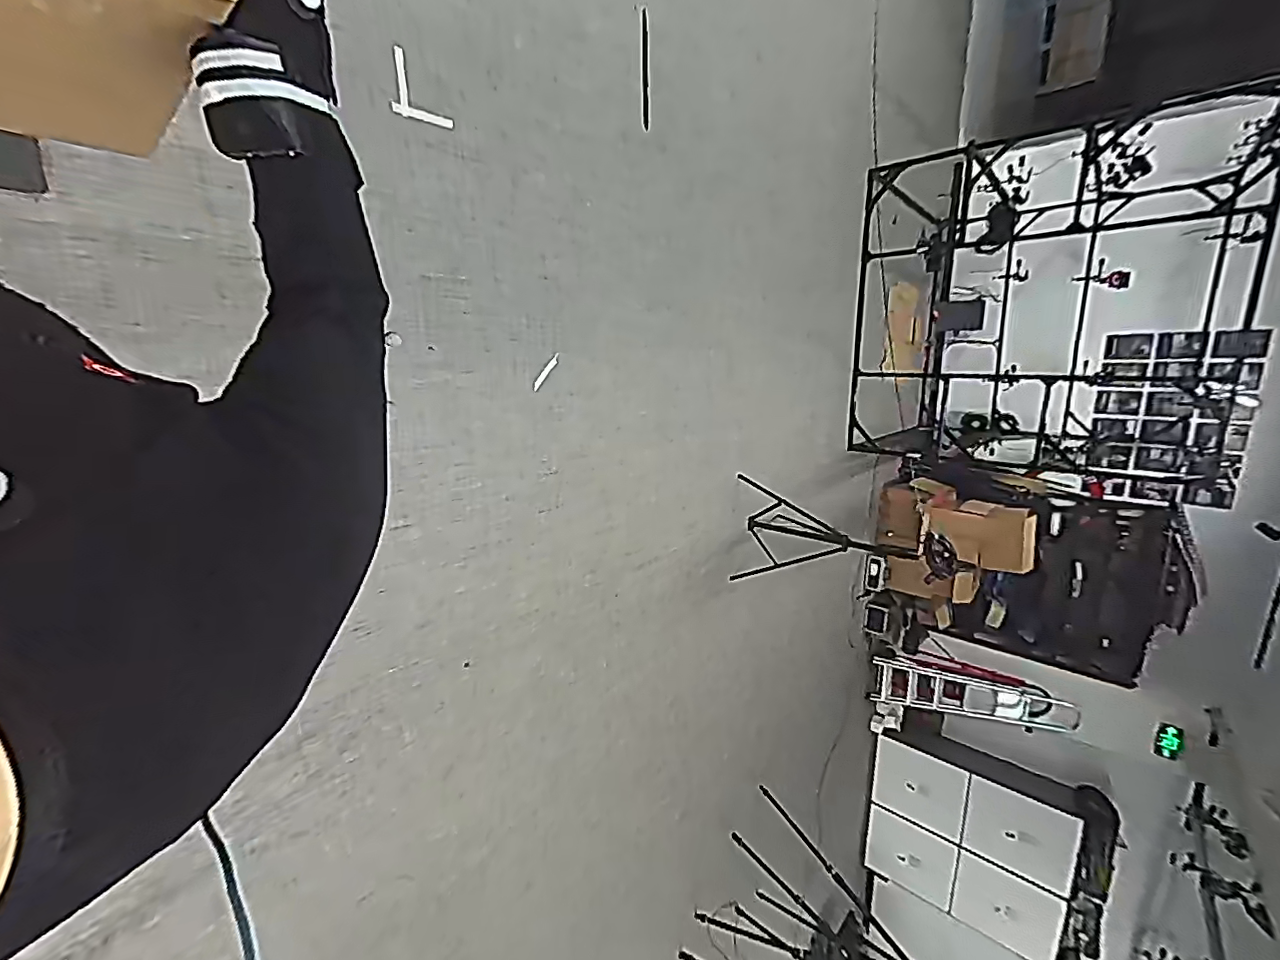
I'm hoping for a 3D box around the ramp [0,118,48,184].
[{"bbox_3d":[-1.171,-0.958,0.645,0.509,0.206,0.991,-17,111,-48],"label":"ramp"}]

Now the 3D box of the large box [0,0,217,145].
[{"bbox_3d":[-0.510,-0.428,0.262,0.408,0.320,0.320,-15,105,-48],"label":"large box"}]
